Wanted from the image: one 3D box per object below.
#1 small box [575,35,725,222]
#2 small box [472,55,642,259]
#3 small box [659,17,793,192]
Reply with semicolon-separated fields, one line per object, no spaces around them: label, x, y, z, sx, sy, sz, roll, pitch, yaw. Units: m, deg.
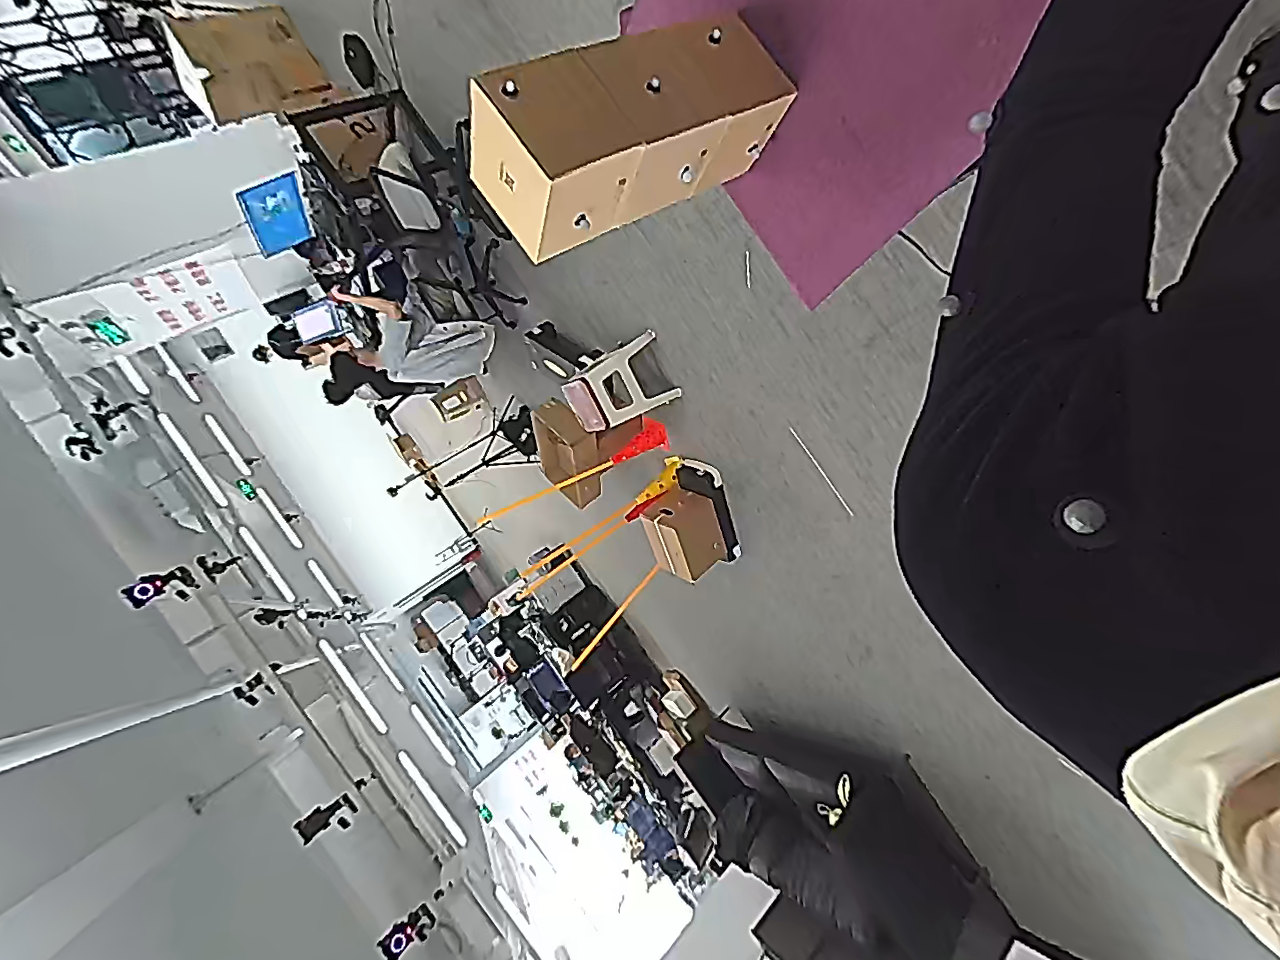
small box;-0.002;-0.553;0.851;0.179;0.176;0.168;53;156;2
small box;-0.123;-0.467;0.784;0.179;0.176;0.168;54;157;3
small box;0.119;-0.639;0.919;0.179;0.176;0.168;53;156;2
